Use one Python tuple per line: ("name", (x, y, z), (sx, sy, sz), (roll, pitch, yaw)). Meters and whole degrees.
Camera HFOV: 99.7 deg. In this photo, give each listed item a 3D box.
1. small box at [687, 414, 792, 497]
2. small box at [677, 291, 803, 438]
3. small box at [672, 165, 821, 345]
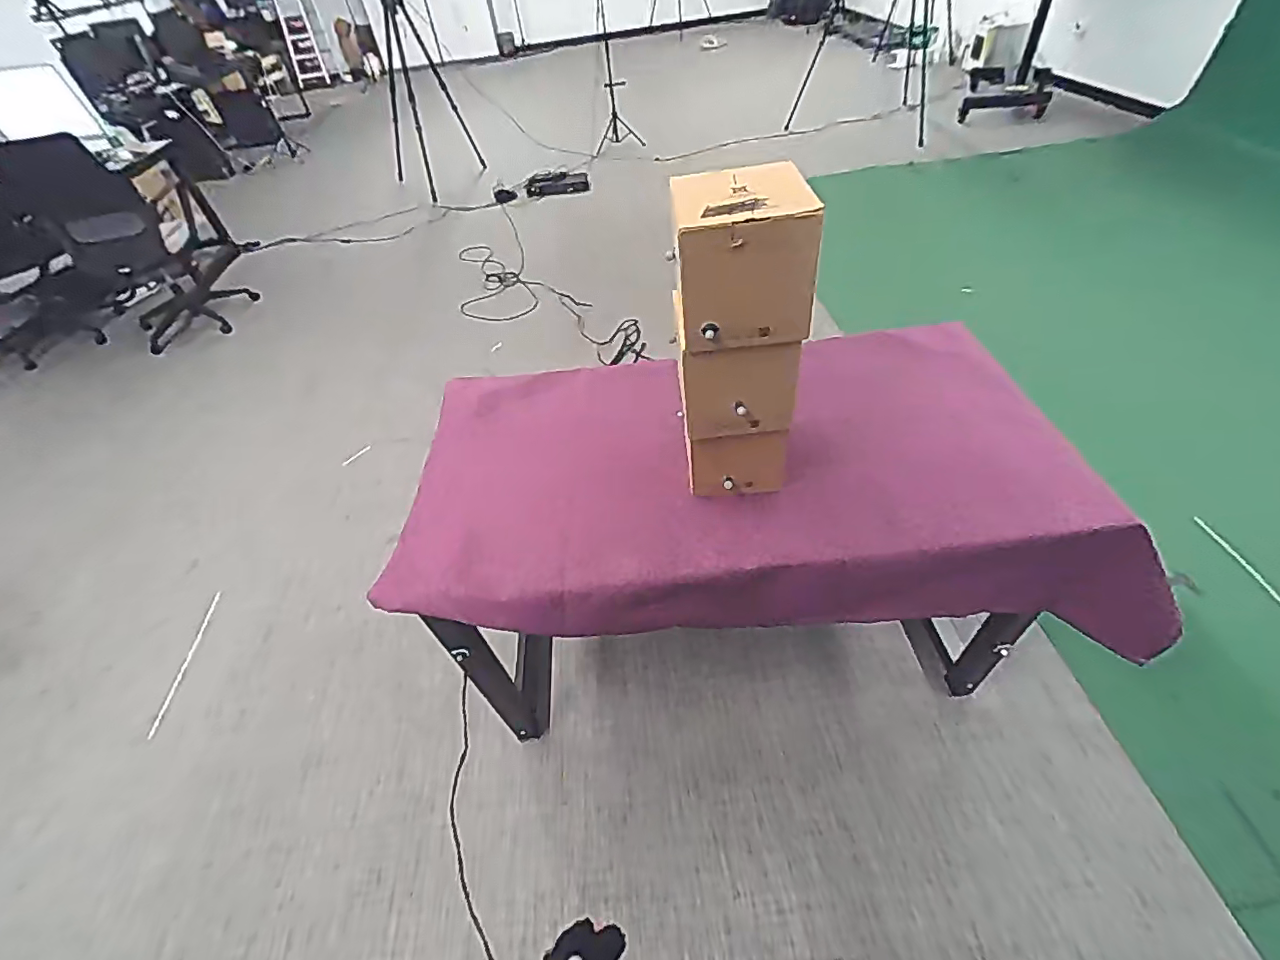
("small box", (0.171, -0.089, 0.983), (0.168, 0.176, 0.179), (-5, 47, 5))
("small box", (0.149, -0.189, 0.854), (0.168, 0.176, 0.179), (-6, 46, 4))
("small box", (0.135, -0.295, 0.729), (0.168, 0.176, 0.179), (-5, 45, 4))
